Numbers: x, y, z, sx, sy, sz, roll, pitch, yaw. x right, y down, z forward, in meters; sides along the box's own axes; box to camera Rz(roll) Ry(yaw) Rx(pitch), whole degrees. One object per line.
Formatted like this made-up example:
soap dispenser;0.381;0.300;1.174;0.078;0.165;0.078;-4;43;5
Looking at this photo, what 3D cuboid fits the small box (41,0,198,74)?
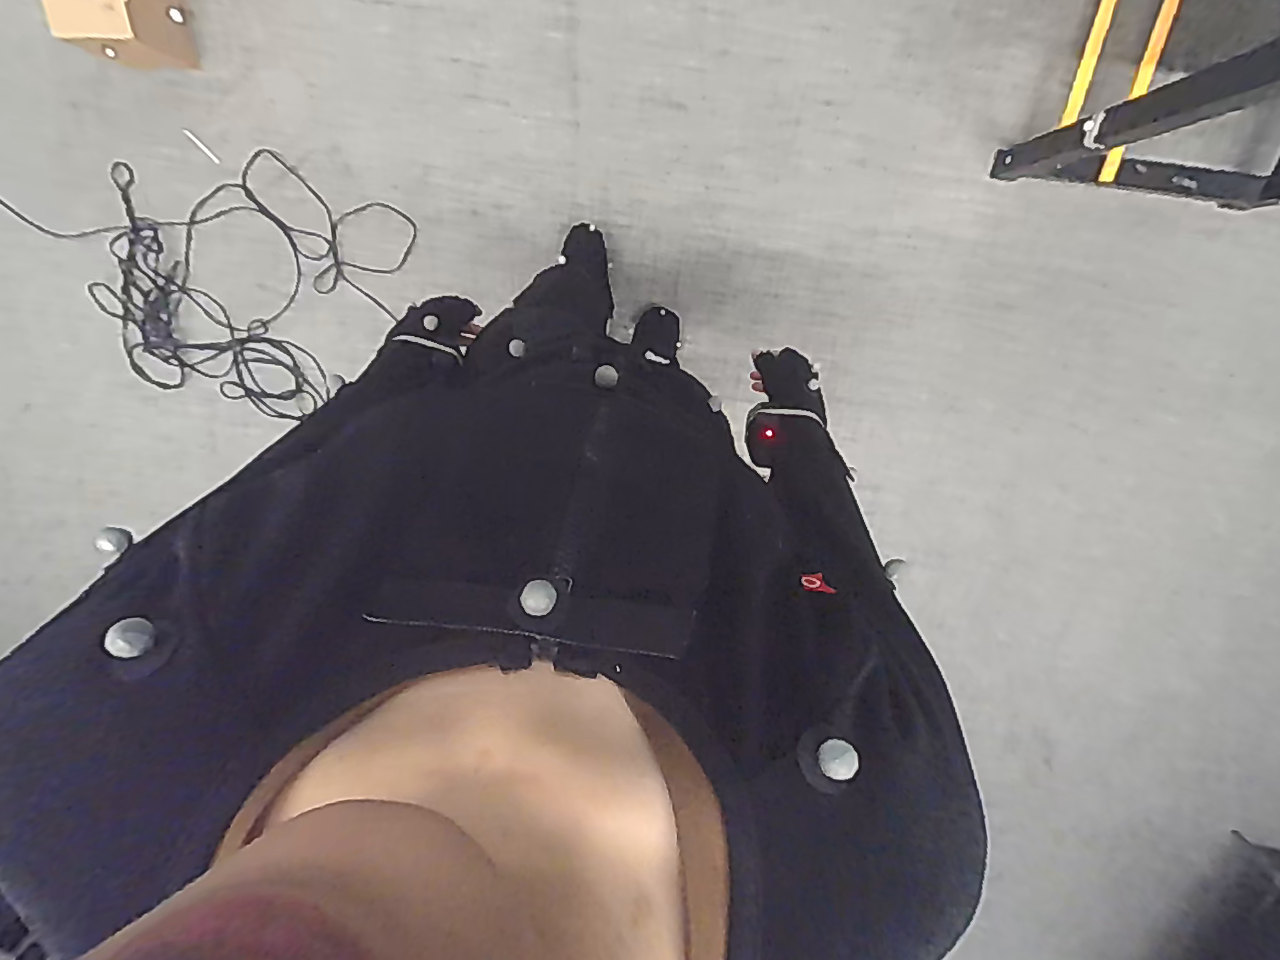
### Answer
small box;-1.097;-0.983;1.139;0.179;0.176;0.168;3;110;2
